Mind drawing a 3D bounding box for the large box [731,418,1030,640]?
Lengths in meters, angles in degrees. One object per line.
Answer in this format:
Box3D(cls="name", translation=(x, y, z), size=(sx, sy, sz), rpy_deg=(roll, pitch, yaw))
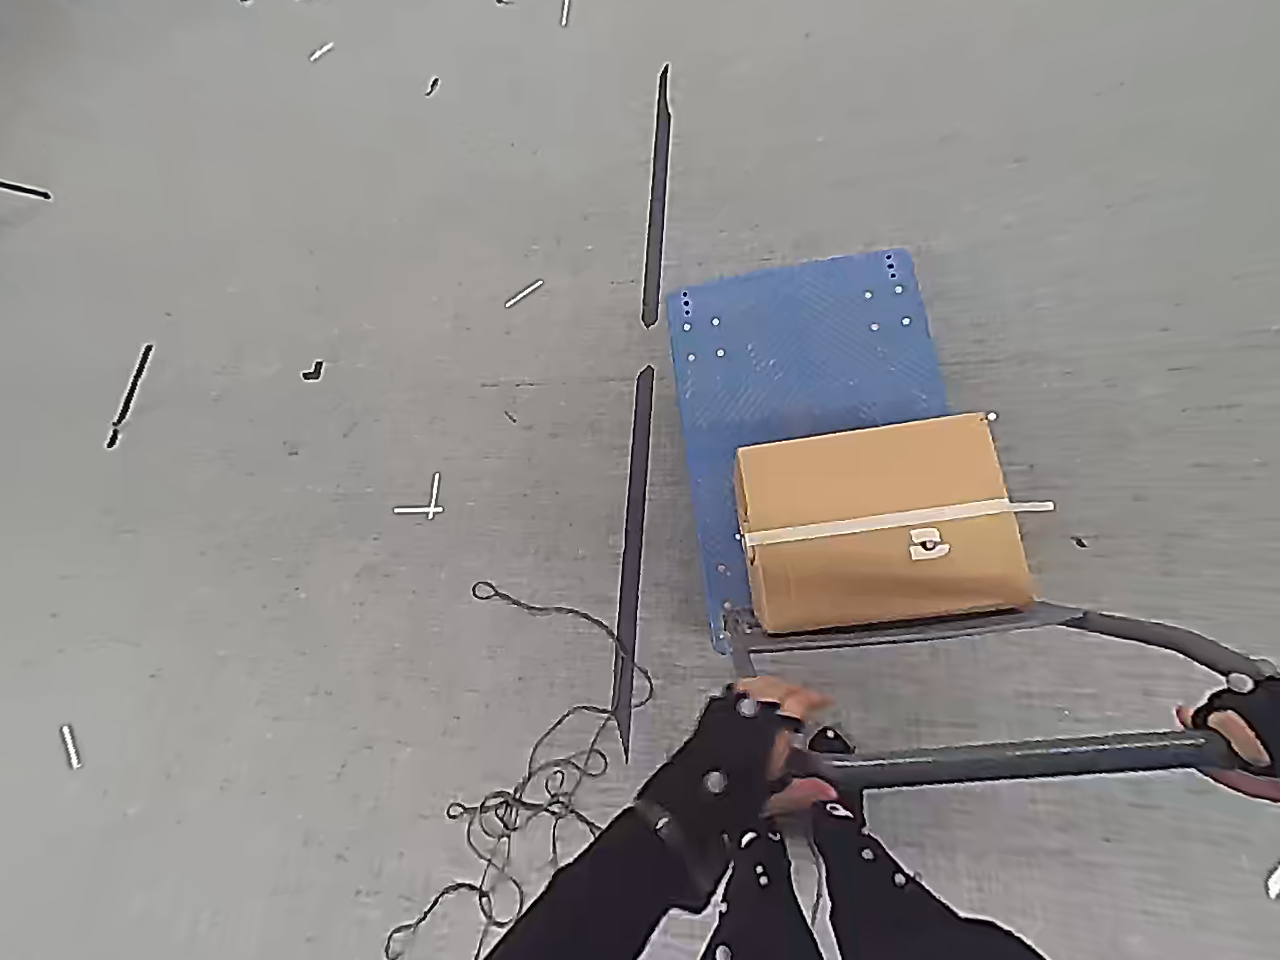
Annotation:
Box3D(cls="large box", translation=(0.397, 0.106, 1.012), size=(0.408, 0.320, 0.320), rpy_deg=(-8, 79, 6))
